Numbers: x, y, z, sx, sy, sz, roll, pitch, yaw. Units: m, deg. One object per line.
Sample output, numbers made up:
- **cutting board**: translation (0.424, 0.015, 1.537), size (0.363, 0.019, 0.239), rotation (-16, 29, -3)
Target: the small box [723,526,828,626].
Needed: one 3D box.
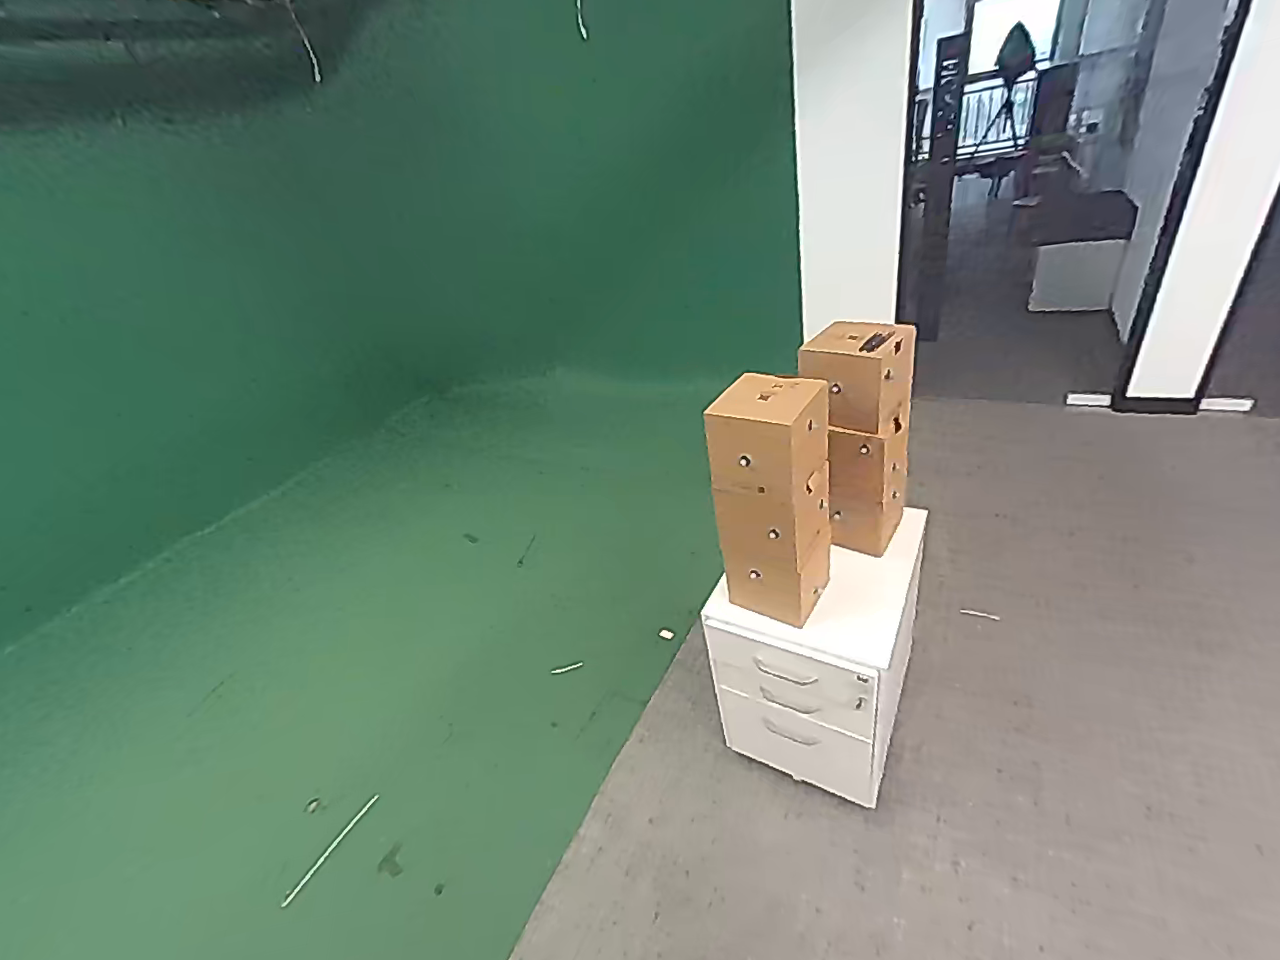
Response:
- **small box**: translation (0.299, 0.192, 1.193), size (0.179, 0.176, 0.168), rotation (15, 42, 35)

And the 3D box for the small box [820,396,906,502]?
- **small box**: translation (0.482, -0.071, 1.226), size (0.179, 0.176, 0.168), rotation (15, 43, 36)

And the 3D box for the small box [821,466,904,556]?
- **small box**: translation (0.520, 0.060, 1.313), size (0.179, 0.176, 0.168), rotation (15, 43, 37)

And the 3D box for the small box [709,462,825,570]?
- **small box**: translation (0.265, 0.060, 1.105), size (0.179, 0.176, 0.168), rotation (13, 40, 36)

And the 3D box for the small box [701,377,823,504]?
- **small box**: translation (0.236, -0.078, 1.018), size (0.168, 0.176, 0.179), rotation (14, 40, 34)
